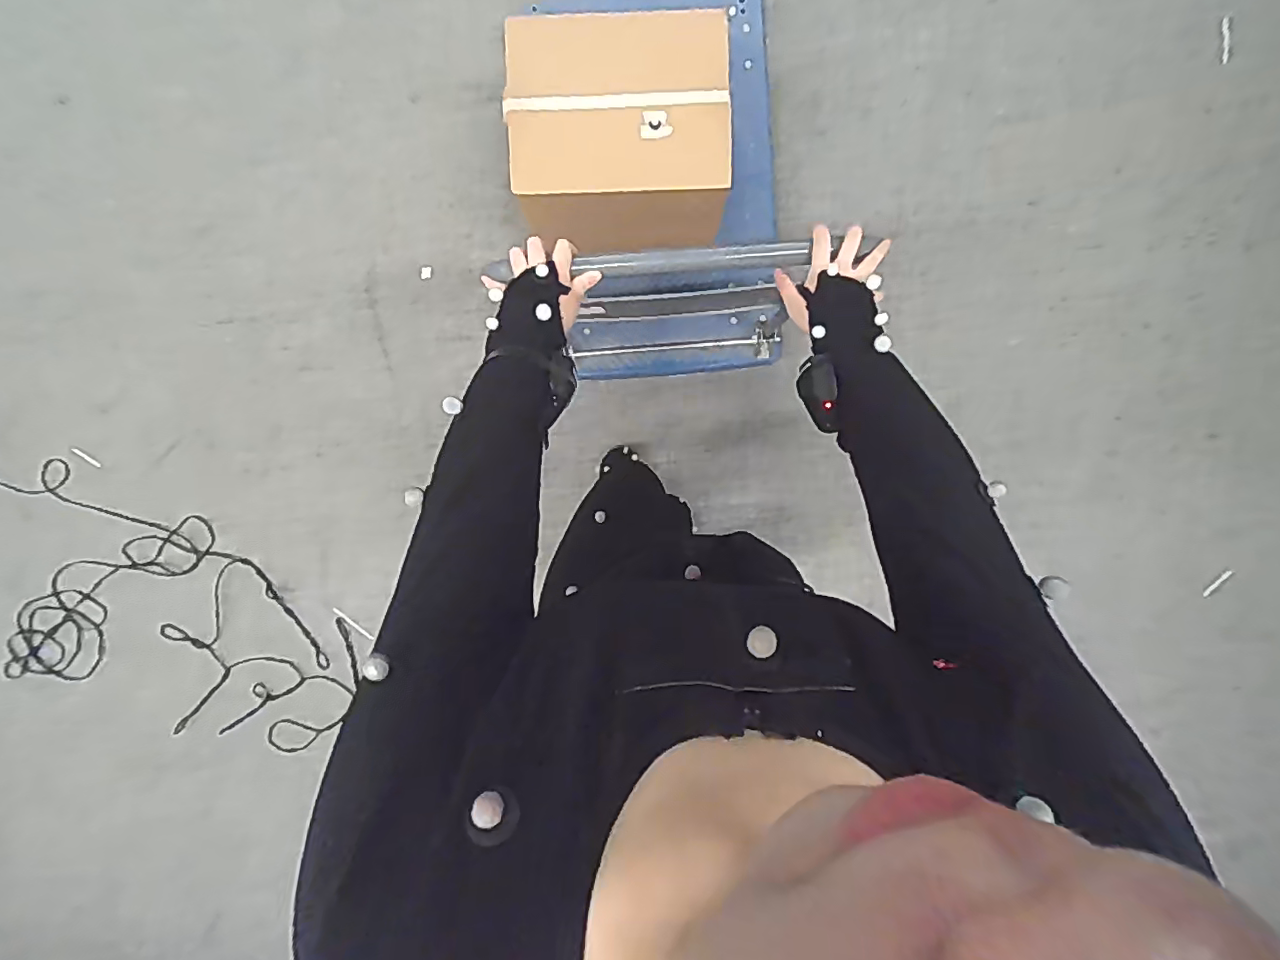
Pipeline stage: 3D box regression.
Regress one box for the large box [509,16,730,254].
[{"bbox_3d":[-0.039,-0.696,1.145,0.408,0.320,0.320,-2,93,0],"label":"large box"}]
